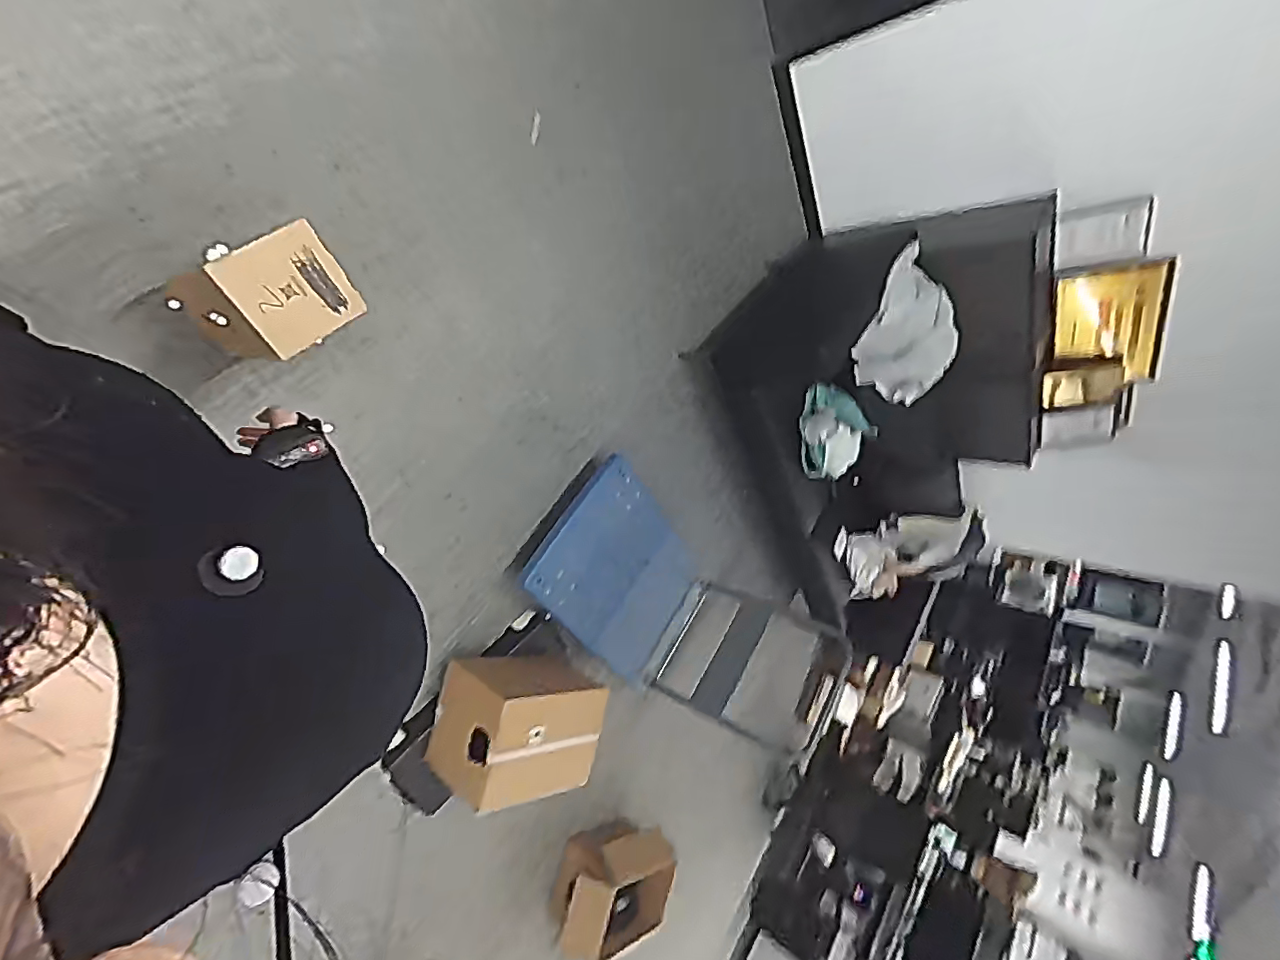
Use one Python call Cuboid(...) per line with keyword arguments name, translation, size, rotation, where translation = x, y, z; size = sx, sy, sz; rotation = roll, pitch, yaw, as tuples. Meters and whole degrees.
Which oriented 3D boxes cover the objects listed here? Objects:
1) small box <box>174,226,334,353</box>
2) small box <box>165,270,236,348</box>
Cuboid(name="small box", translation=(-0.747, -0.361, 1.045), size=(0.168, 0.176, 0.179), rotation=(-48, 131, -29))
Cuboid(name="small box", translation=(-0.864, -0.394, 1.156), size=(0.179, 0.176, 0.168), rotation=(-49, 131, -29))
